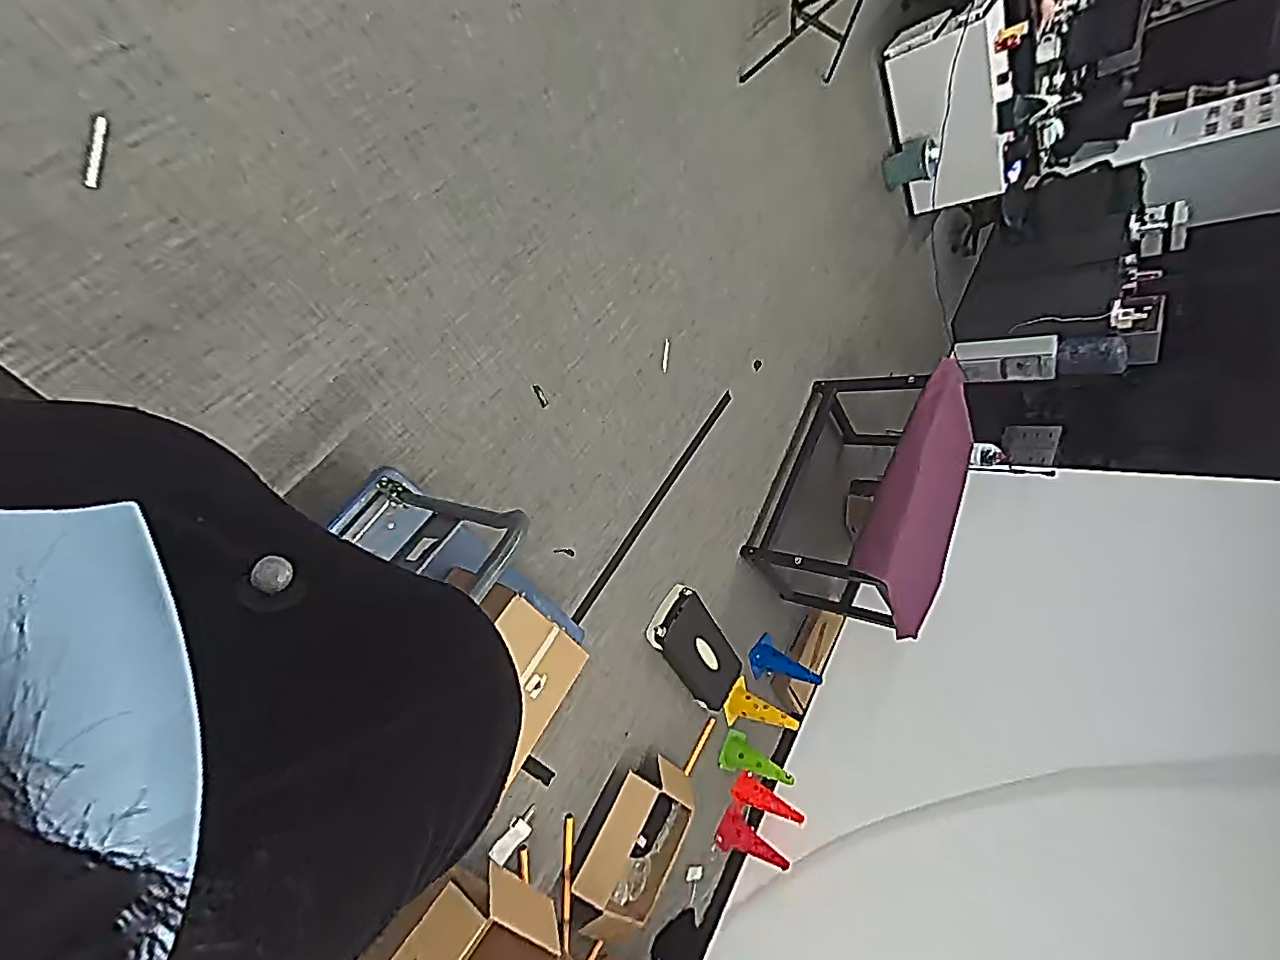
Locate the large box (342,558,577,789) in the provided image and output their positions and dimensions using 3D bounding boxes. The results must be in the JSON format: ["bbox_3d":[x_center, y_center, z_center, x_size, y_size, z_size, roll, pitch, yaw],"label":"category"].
[{"bbox_3d":[-0.440,0.463,1.353,0.408,0.320,0.320,-57,131,-26],"label":"large box"}]
